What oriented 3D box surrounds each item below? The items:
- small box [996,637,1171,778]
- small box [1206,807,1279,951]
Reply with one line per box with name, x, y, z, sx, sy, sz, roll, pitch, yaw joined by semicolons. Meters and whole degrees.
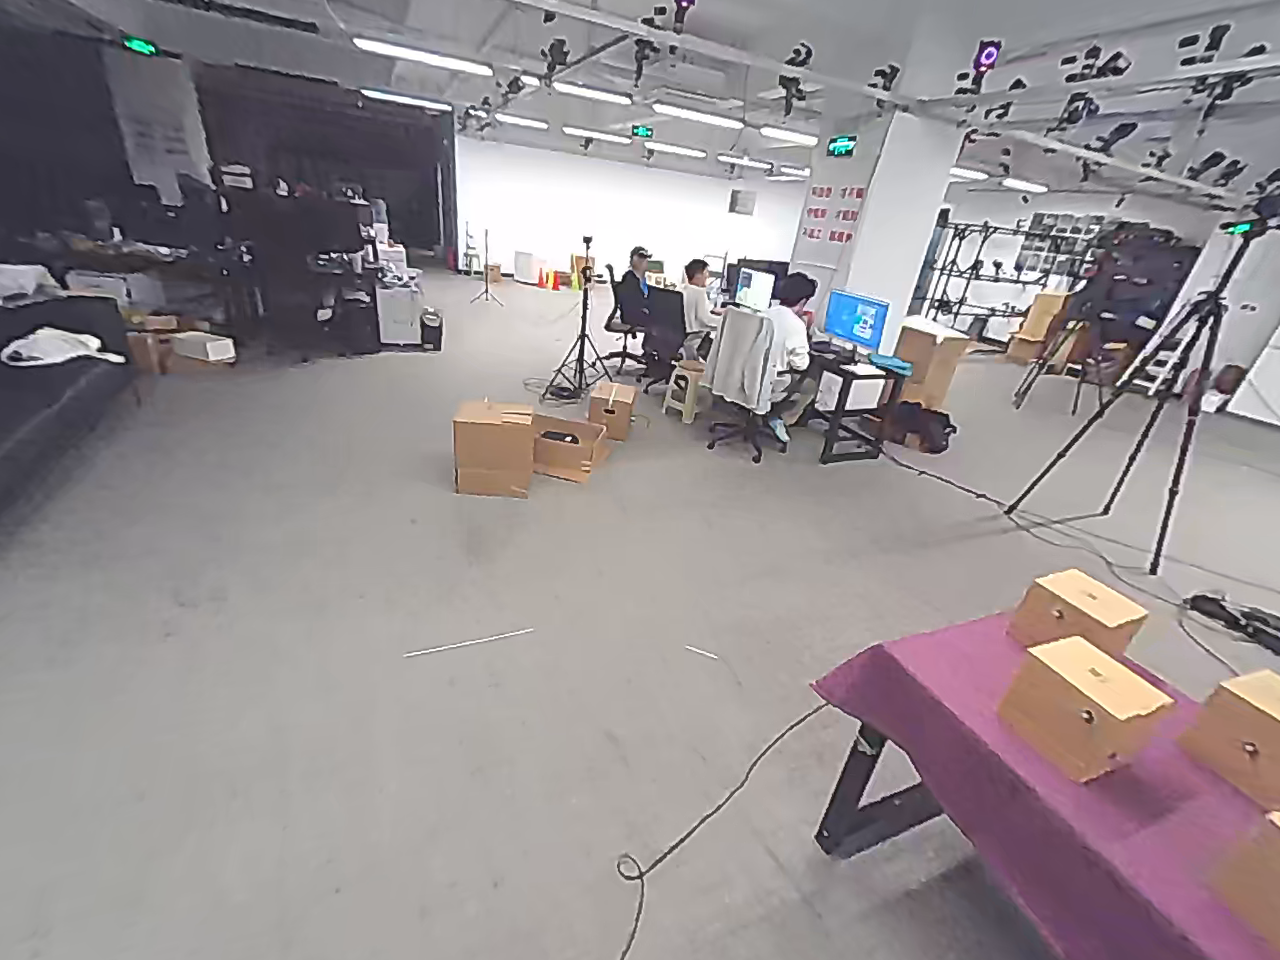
small box;0.850;0.439;1.057;0.168;0.176;0.179;-4;29;-22
small box;0.996;0.596;0.777;0.168;0.176;0.179;-3;29;-20
